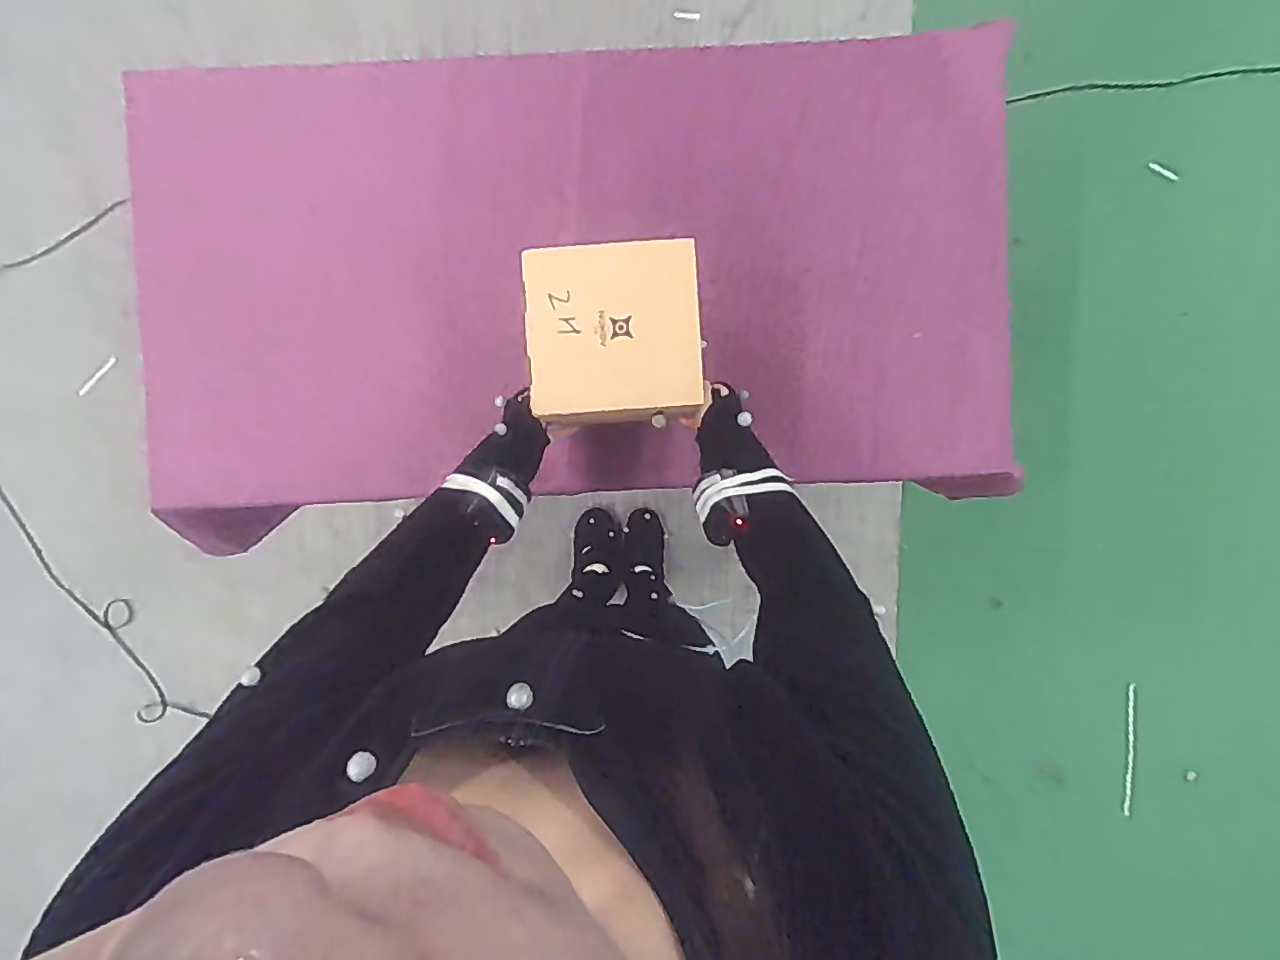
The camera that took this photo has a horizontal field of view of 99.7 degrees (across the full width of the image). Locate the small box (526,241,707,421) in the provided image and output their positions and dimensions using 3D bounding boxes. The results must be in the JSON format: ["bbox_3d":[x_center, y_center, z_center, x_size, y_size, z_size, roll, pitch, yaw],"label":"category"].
[{"bbox_3d":[-0.023,-0.156,0.619,0.179,0.176,0.168,-3,92,1],"label":"small box"}]
